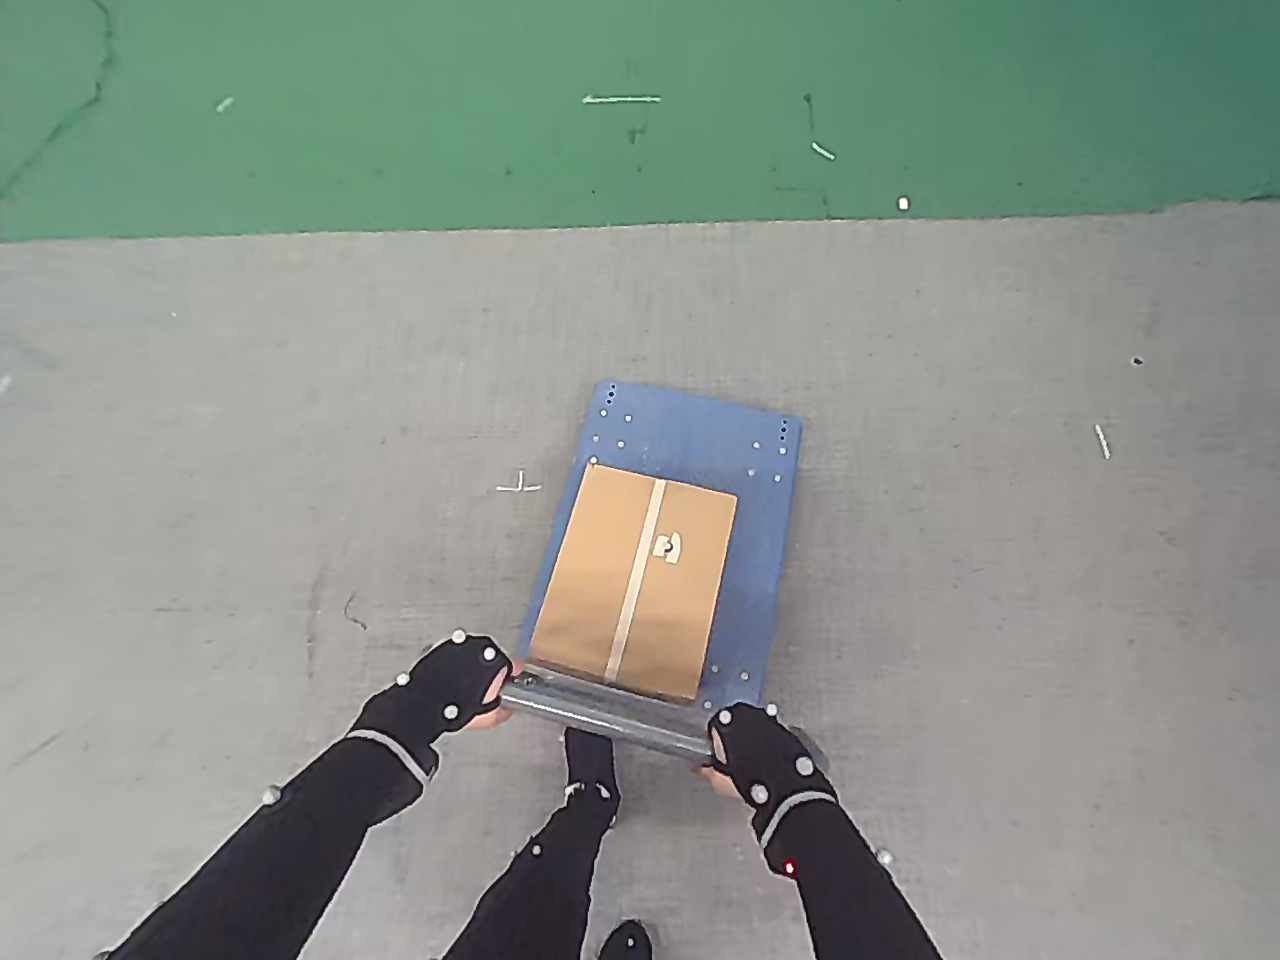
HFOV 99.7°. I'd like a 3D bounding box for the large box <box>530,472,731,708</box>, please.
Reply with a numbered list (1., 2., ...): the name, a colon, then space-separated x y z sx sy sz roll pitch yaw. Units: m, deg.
1. large box: -0.005 0.249 1.168 0.320 0.320 0.408 13 68 6
